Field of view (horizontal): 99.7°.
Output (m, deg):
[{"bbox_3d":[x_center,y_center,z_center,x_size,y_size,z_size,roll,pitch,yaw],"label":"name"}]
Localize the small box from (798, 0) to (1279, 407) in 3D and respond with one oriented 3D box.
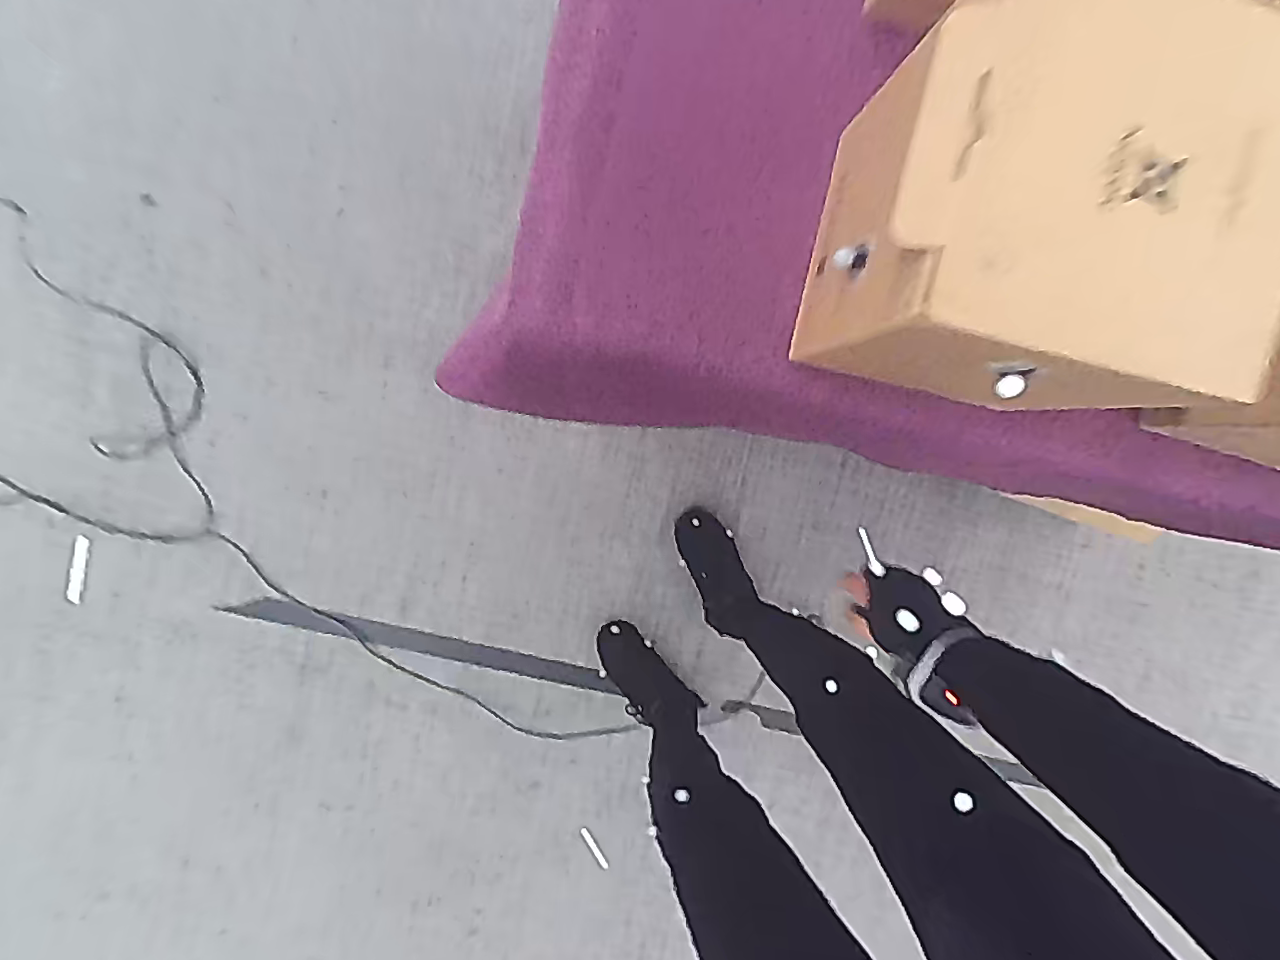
[{"bbox_3d":[0.216,-0.140,0.321,0.179,0.176,0.168,12,95,-6],"label":"small box"}]
